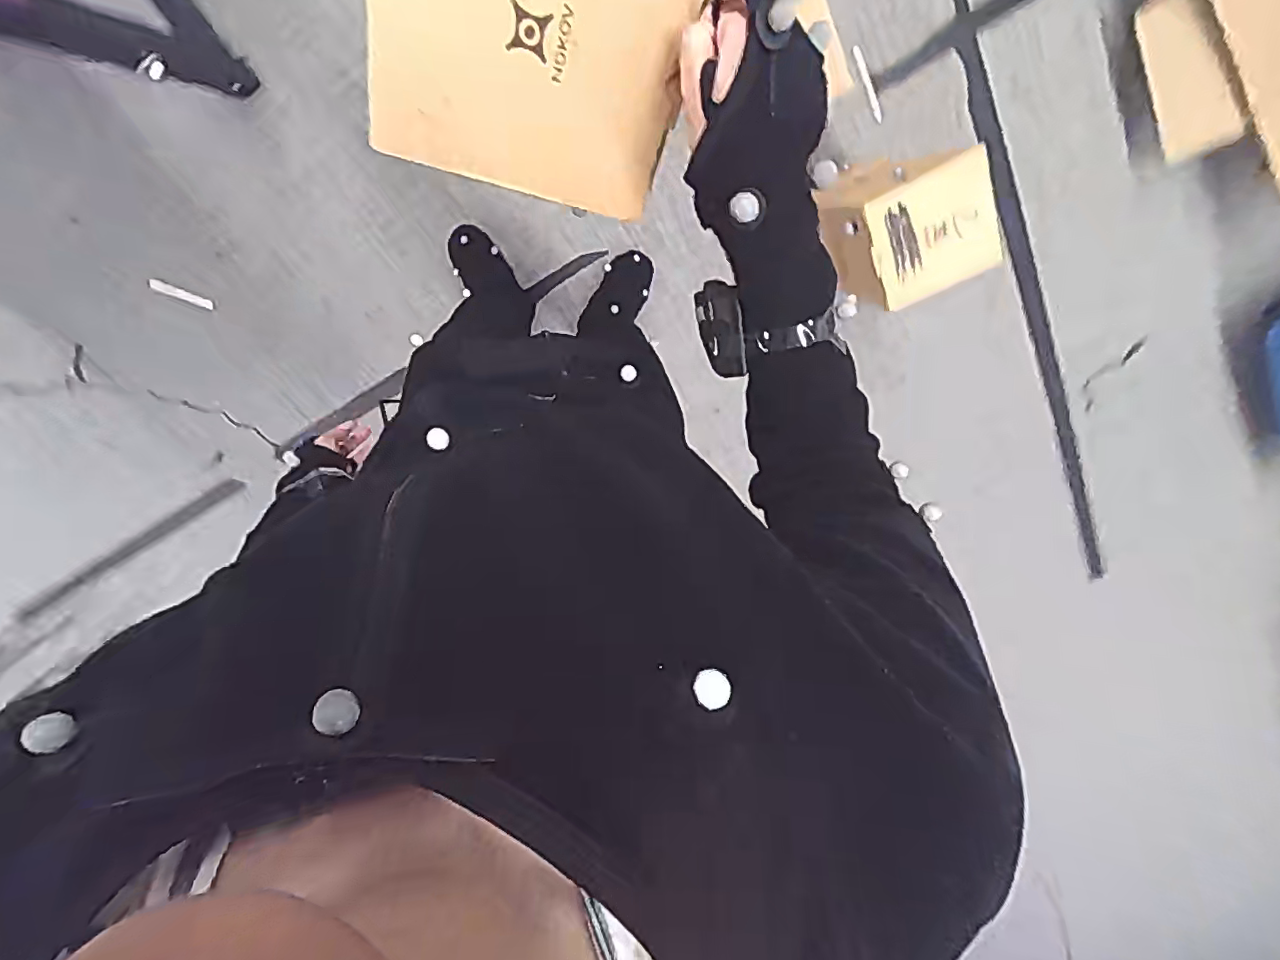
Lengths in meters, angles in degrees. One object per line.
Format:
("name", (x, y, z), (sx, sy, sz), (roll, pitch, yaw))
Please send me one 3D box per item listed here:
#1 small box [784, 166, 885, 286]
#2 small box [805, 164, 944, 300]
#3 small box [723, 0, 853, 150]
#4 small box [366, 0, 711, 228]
("small box", (0.425, -0.543, 1.151), (0.168, 0.176, 0.179), (-23, 117, 10))
("small box", (0.425, -0.460, 1.008), (0.179, 0.176, 0.168), (-24, 116, 10))
("small box", (0.271, -0.760, 1.032), (0.179, 0.176, 0.168), (-29, 116, 12))
("small box", (-0.067, -0.296, 0.352), (0.179, 0.176, 0.168), (5, 134, -18))
